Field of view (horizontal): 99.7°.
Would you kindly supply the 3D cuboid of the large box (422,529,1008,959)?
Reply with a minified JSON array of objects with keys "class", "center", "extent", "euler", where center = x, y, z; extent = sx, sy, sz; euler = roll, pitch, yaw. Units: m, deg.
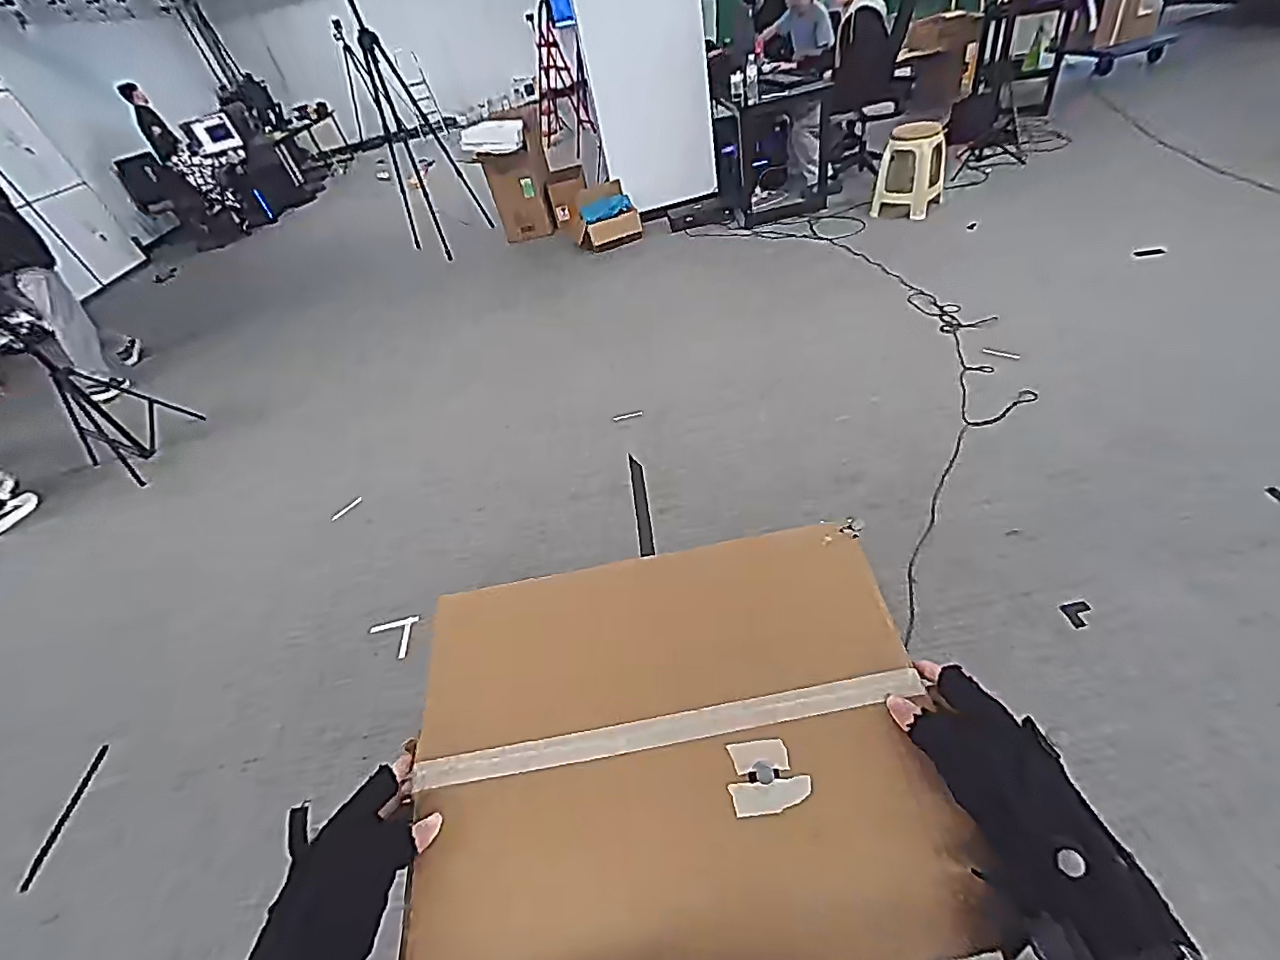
[{"class":"large box","center":[0.045,0.294,0.559],"extent":[0.408,0.320,0.320],"euler":[-11,52,1]}]
